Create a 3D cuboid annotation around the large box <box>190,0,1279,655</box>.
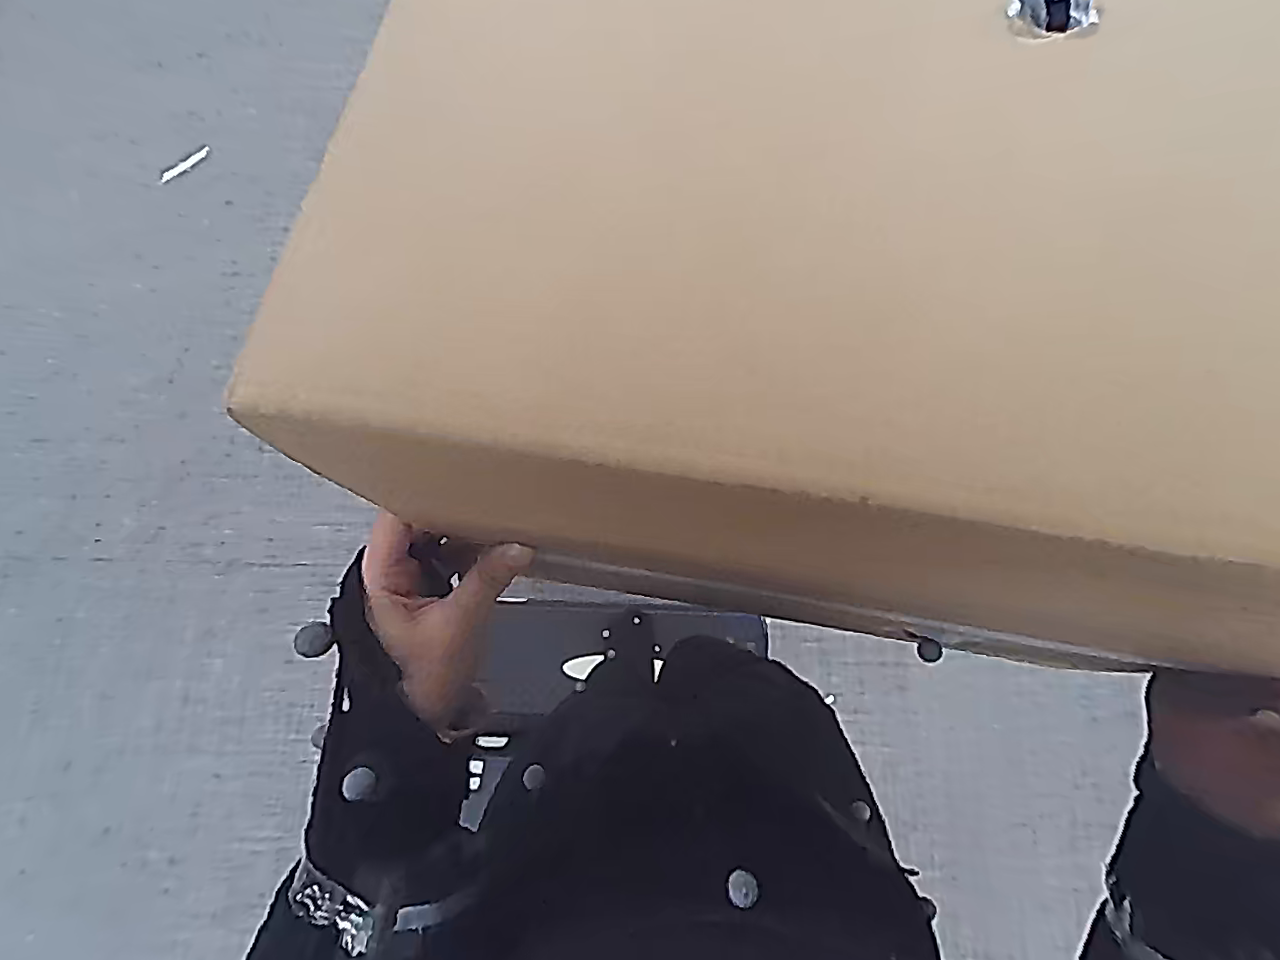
[{"bbox_3d":[0.101,-0.093,0.306,0.408,0.320,0.320,7,75,4],"label":"large box"}]
